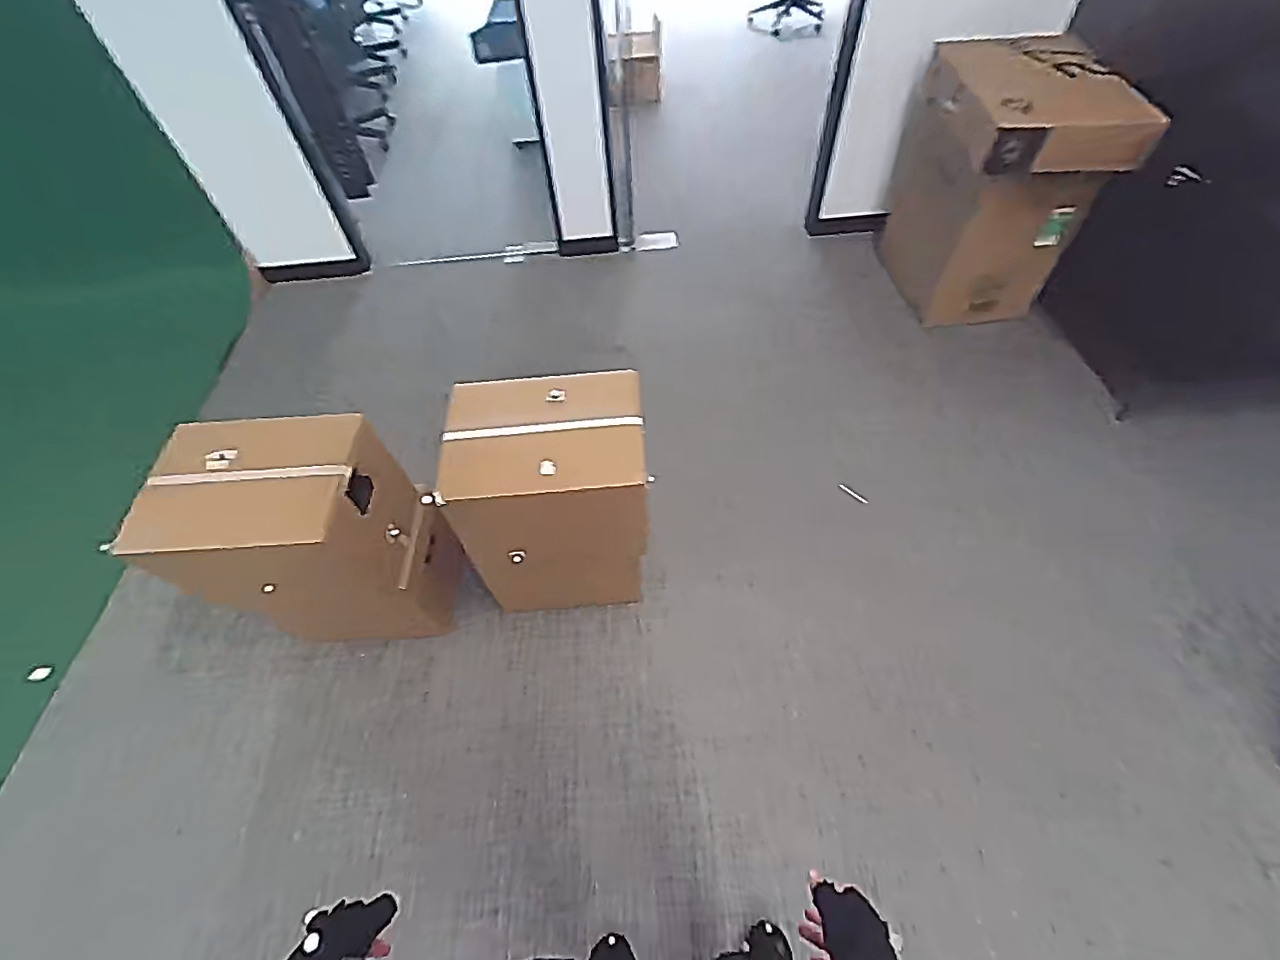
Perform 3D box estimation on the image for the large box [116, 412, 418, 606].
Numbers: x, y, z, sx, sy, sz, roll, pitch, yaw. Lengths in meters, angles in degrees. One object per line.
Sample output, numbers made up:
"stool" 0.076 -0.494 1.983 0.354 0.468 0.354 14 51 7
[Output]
"large box" -0.770 0.076 1.199 0.408 0.320 0.320 -3 56 3
